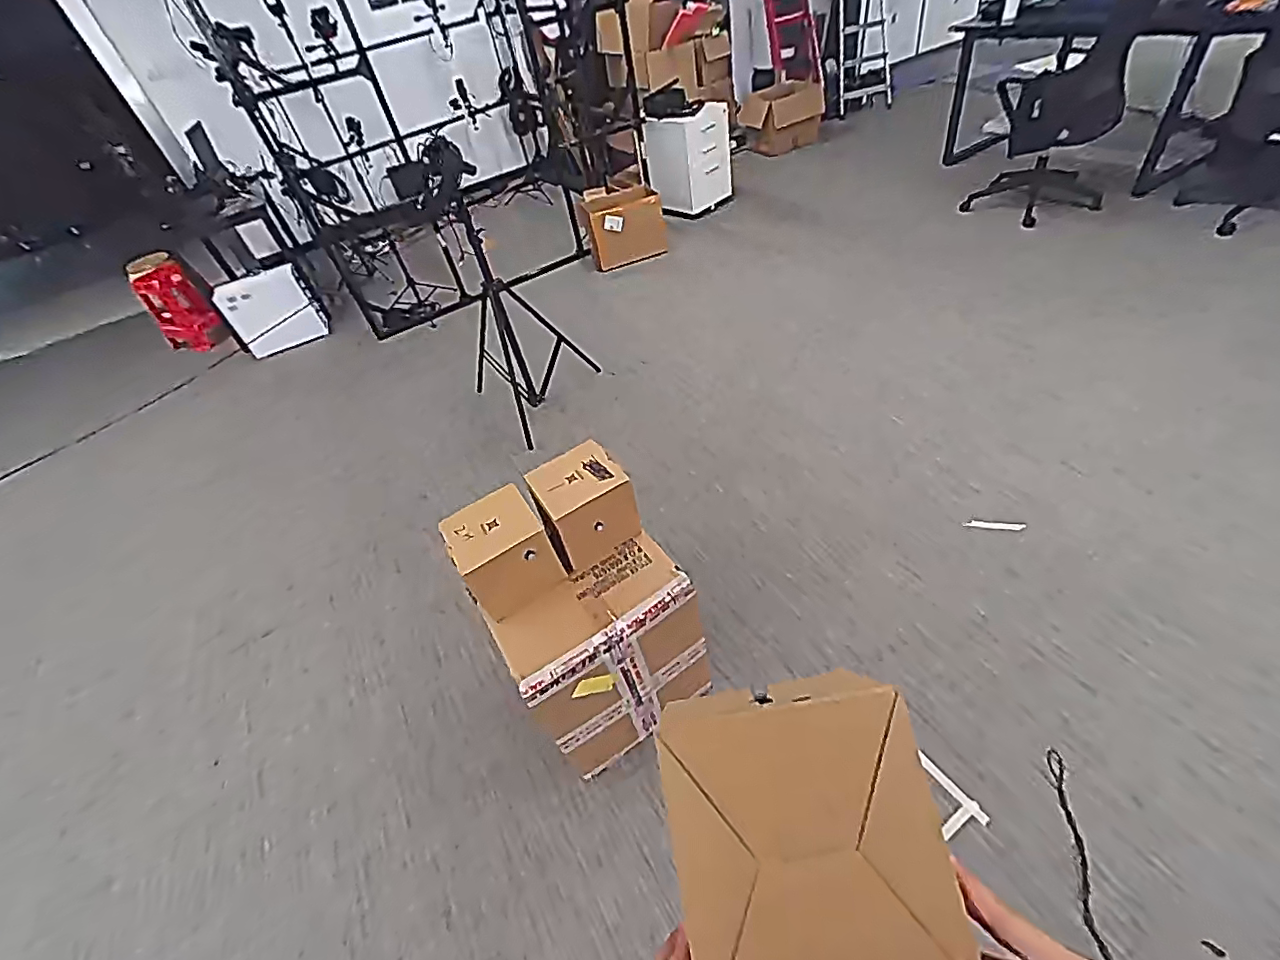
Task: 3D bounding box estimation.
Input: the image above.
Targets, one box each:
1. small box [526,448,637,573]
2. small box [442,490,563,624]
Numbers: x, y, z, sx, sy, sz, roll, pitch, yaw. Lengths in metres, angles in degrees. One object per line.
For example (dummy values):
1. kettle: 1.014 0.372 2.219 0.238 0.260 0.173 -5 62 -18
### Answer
1. small box: -0.119 0.067 1.175 0.179 0.176 0.168 -29 47 -17
2. small box: -0.276 0.160 1.119 0.179 0.176 0.168 -31 46 -14
